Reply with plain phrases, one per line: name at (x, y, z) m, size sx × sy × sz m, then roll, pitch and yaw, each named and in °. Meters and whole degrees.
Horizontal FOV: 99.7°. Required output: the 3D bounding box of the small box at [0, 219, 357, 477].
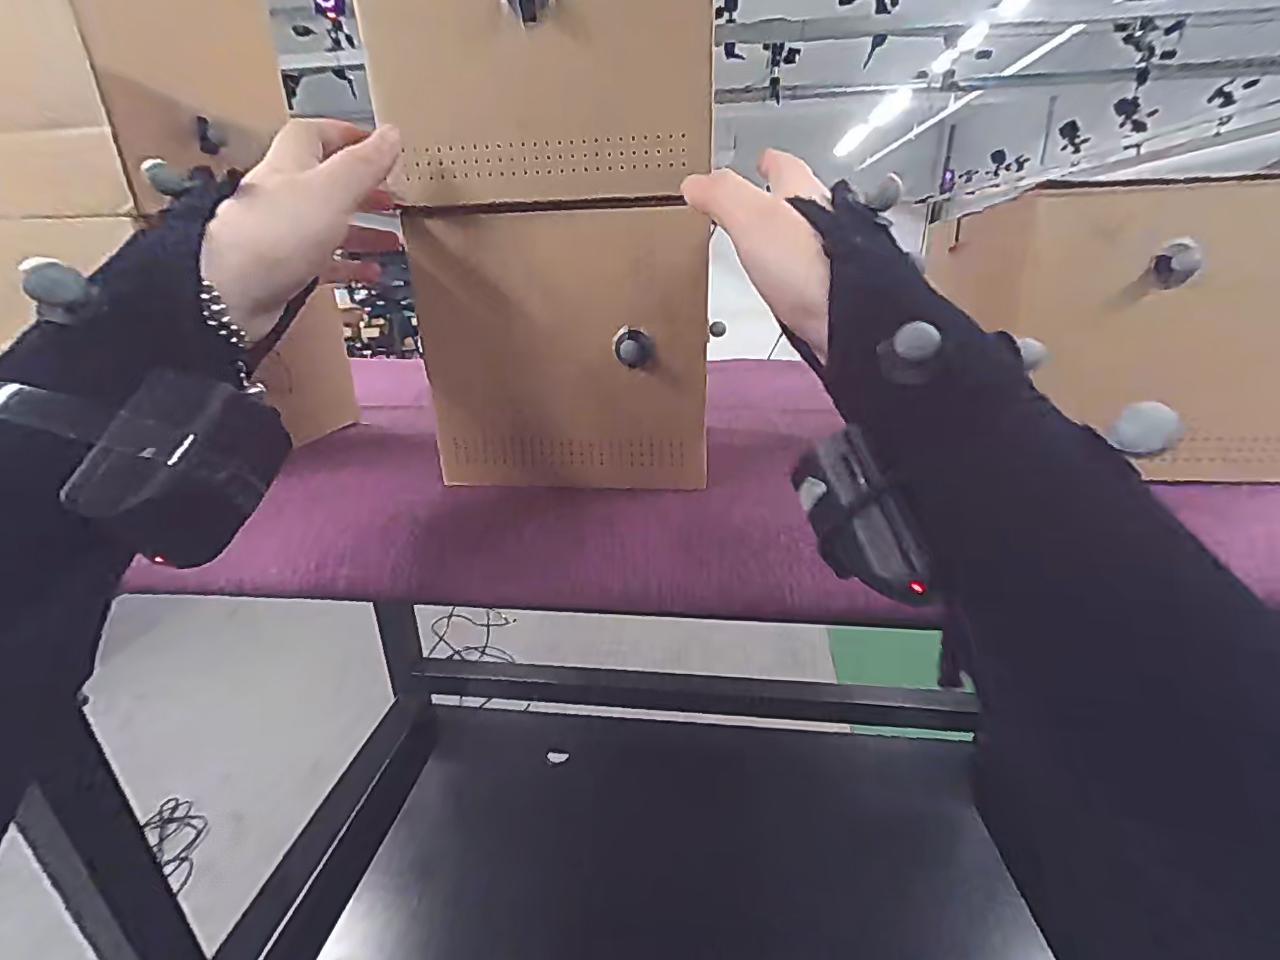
small box at (-0.355, -0.107, 0.431) m, size 0.168 × 0.176 × 0.179 m, roll 3°, pitch 20°, yaw 4°

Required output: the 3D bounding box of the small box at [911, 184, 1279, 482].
small box at (0.315, -0.100, 0.393) m, size 0.179 × 0.176 × 0.168 m, roll 2°, pitch 18°, yaw 7°

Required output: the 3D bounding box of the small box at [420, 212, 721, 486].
small box at (-0.034, -0.098, 0.407) m, size 0.179 × 0.176 × 0.168 m, roll 0°, pitch 20°, yaw 5°

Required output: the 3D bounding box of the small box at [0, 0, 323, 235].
small box at (-0.361, -0.259, 0.373) m, size 0.179 × 0.176 × 0.168 m, roll 1°, pitch 21°, yaw 2°
